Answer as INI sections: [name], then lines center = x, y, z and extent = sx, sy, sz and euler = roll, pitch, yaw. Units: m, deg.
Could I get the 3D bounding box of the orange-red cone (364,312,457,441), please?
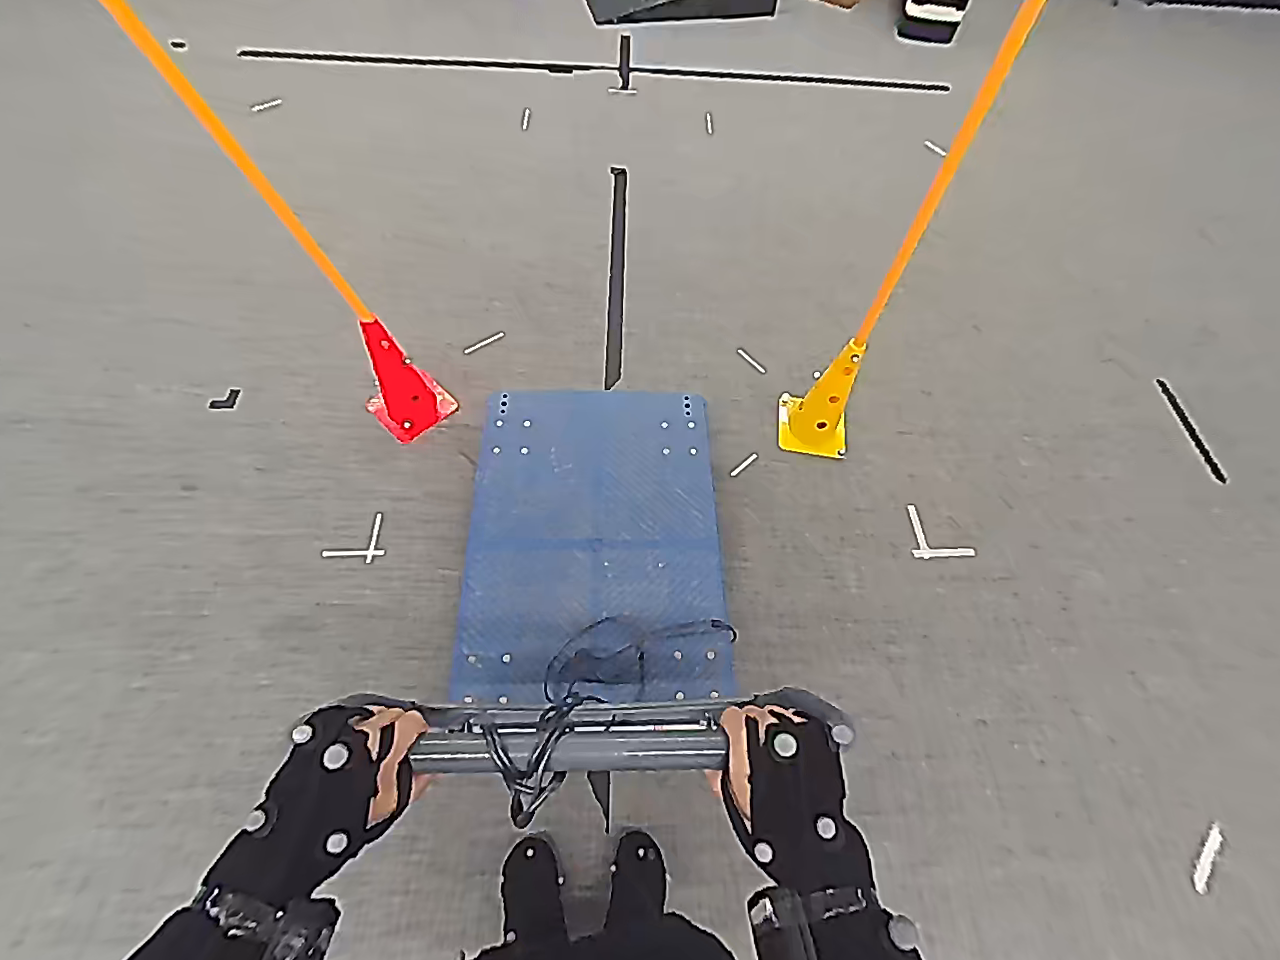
[orange-red cone]
center = -0.651, -0.302, 1.437
extent = 0.199, 0.360, 0.198
euler = -40, 71, -23
